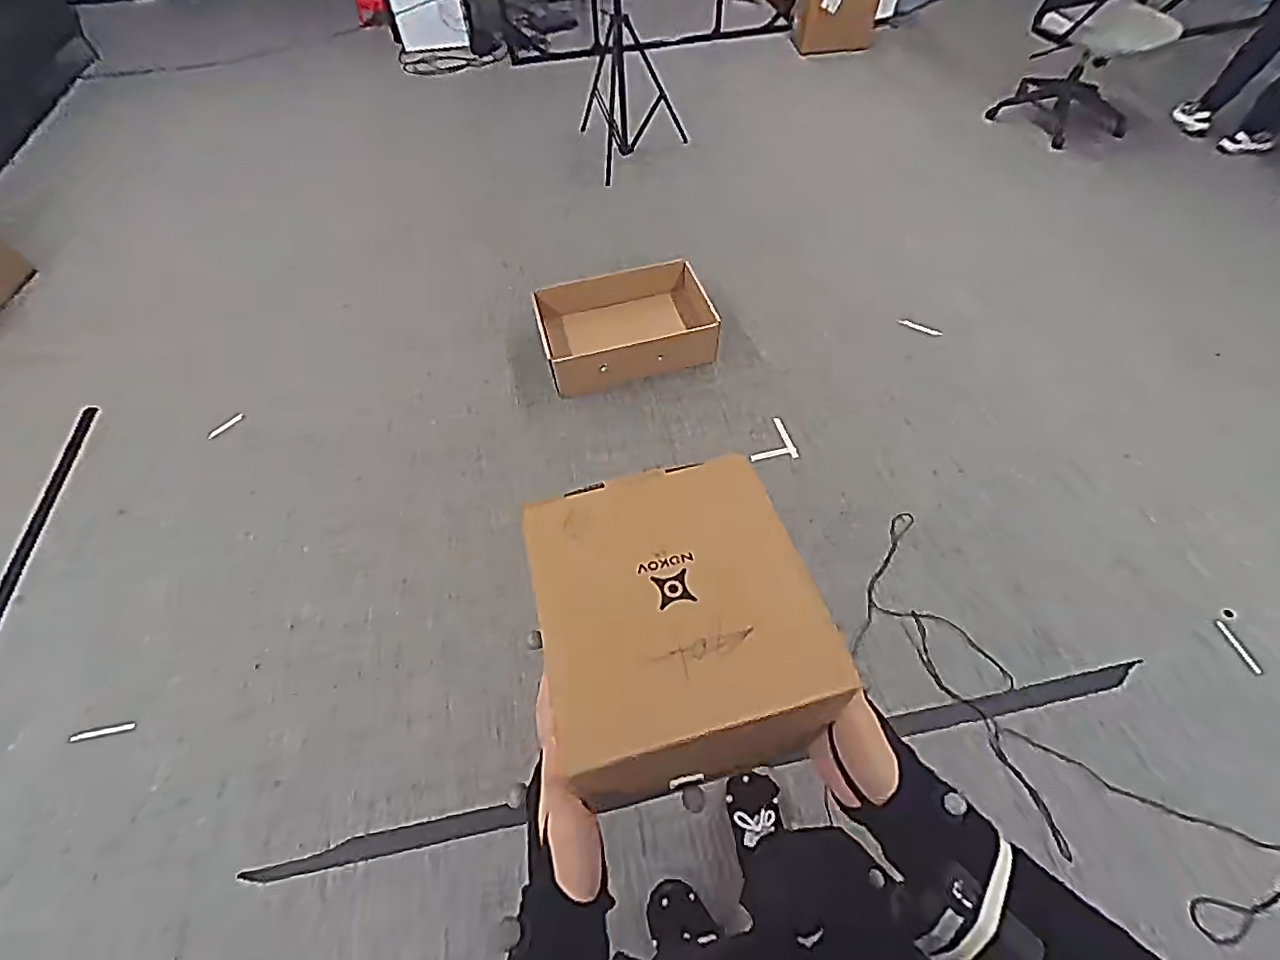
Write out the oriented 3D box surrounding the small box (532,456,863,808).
[{"bbox_3d":[0.025,0.114,0.398,0.168,0.176,0.179,-14,54,-8],"label":"small box"}]
